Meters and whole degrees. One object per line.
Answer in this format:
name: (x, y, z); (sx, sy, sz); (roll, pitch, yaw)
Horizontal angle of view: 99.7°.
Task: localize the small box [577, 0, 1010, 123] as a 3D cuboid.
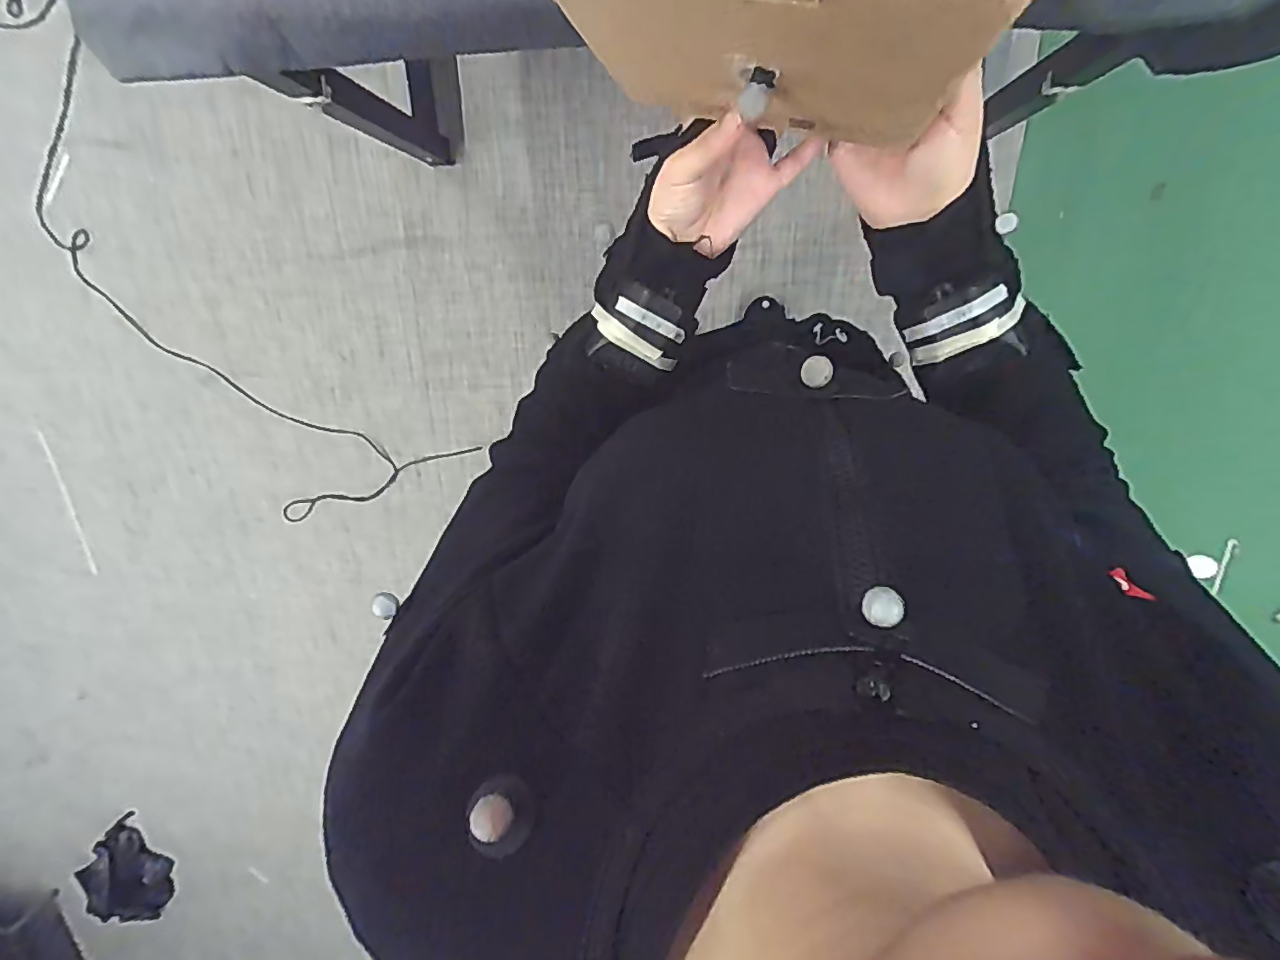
small box: (0.070, -0.263, 0.207); (0.168, 0.176, 0.179); (15, 112, 9)
